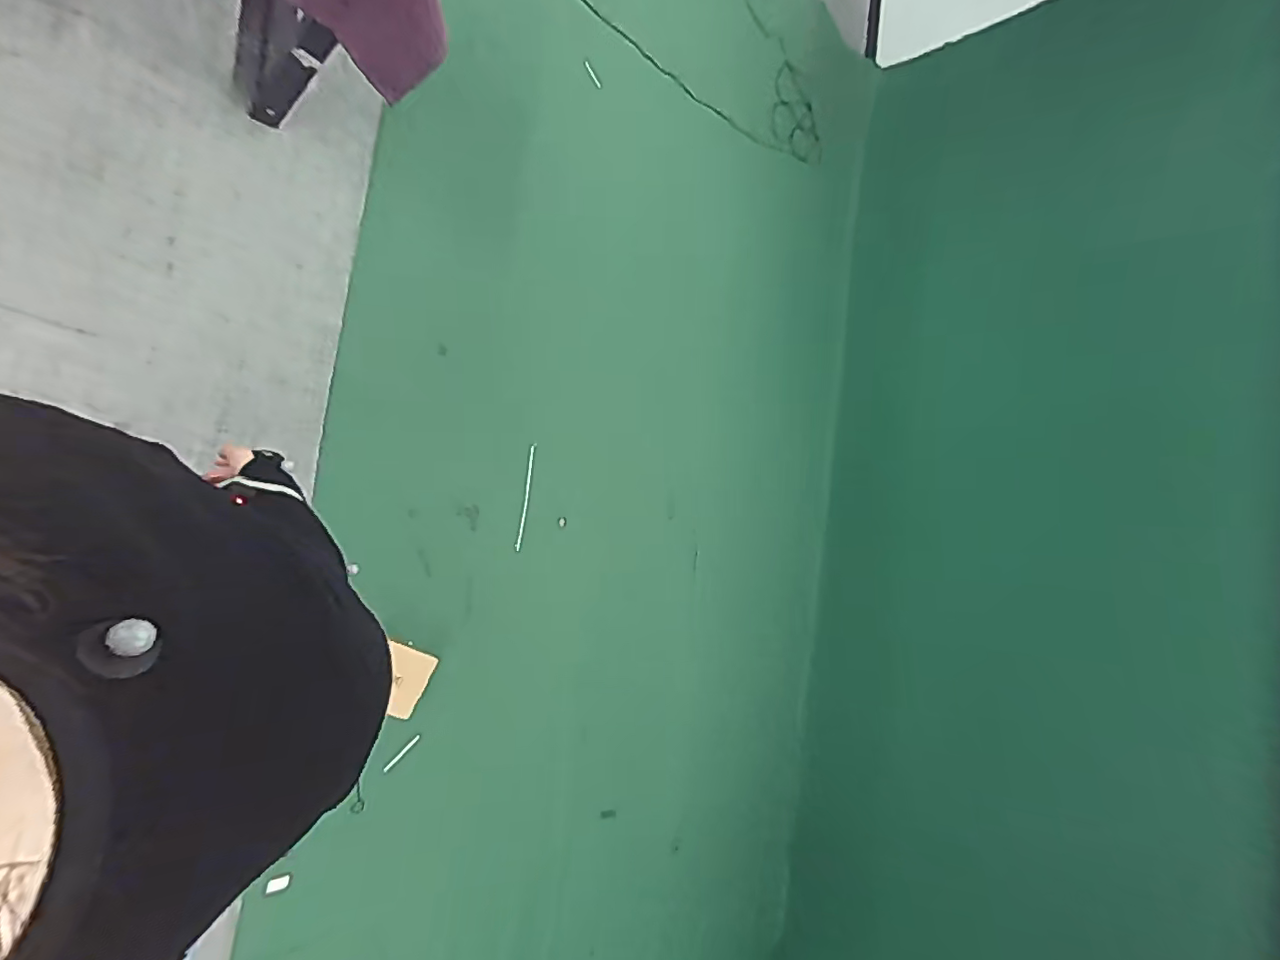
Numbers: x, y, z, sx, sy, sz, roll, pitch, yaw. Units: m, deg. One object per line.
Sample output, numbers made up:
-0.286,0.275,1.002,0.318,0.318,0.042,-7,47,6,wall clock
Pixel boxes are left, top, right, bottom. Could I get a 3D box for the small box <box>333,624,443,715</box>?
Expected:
-0.677,0.504,1.452,0.179,0.176,0.168,44,61,-40,small box
